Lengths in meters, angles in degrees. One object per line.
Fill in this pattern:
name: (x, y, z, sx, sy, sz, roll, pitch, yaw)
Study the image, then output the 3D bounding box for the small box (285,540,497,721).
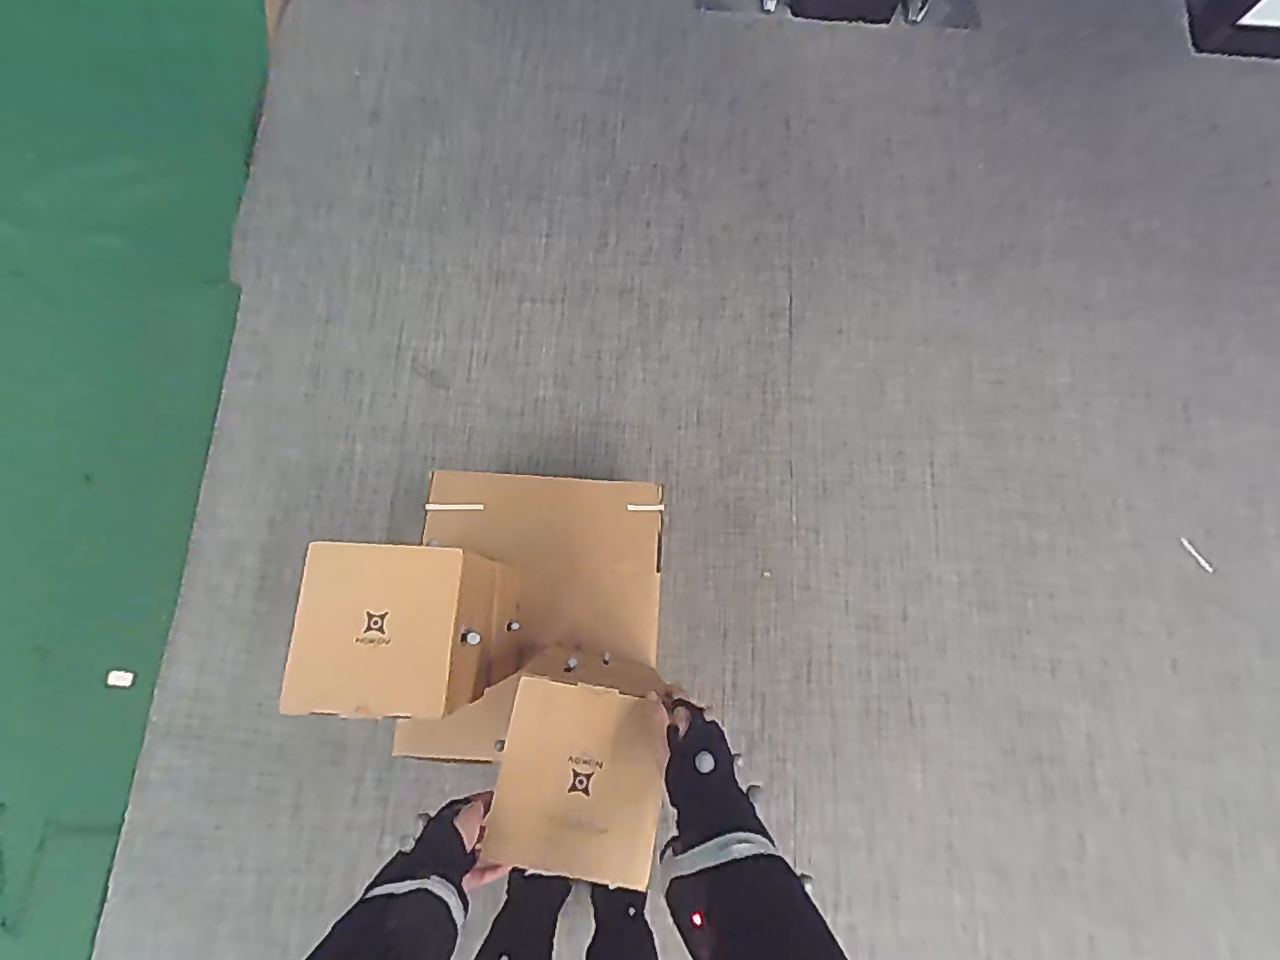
small box: (-0.274, 0.172, 0.641, 0.168, 0.176, 0.179, 4, 77, -1)

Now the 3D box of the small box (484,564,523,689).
small box: (-0.276, 0.209, 0.800, 0.179, 0.176, 0.168, 2, 76, -1)

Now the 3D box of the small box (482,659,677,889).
small box: (-0.061, 0.312, 0.616, 0.168, 0.176, 0.179, 11, 78, 0)
